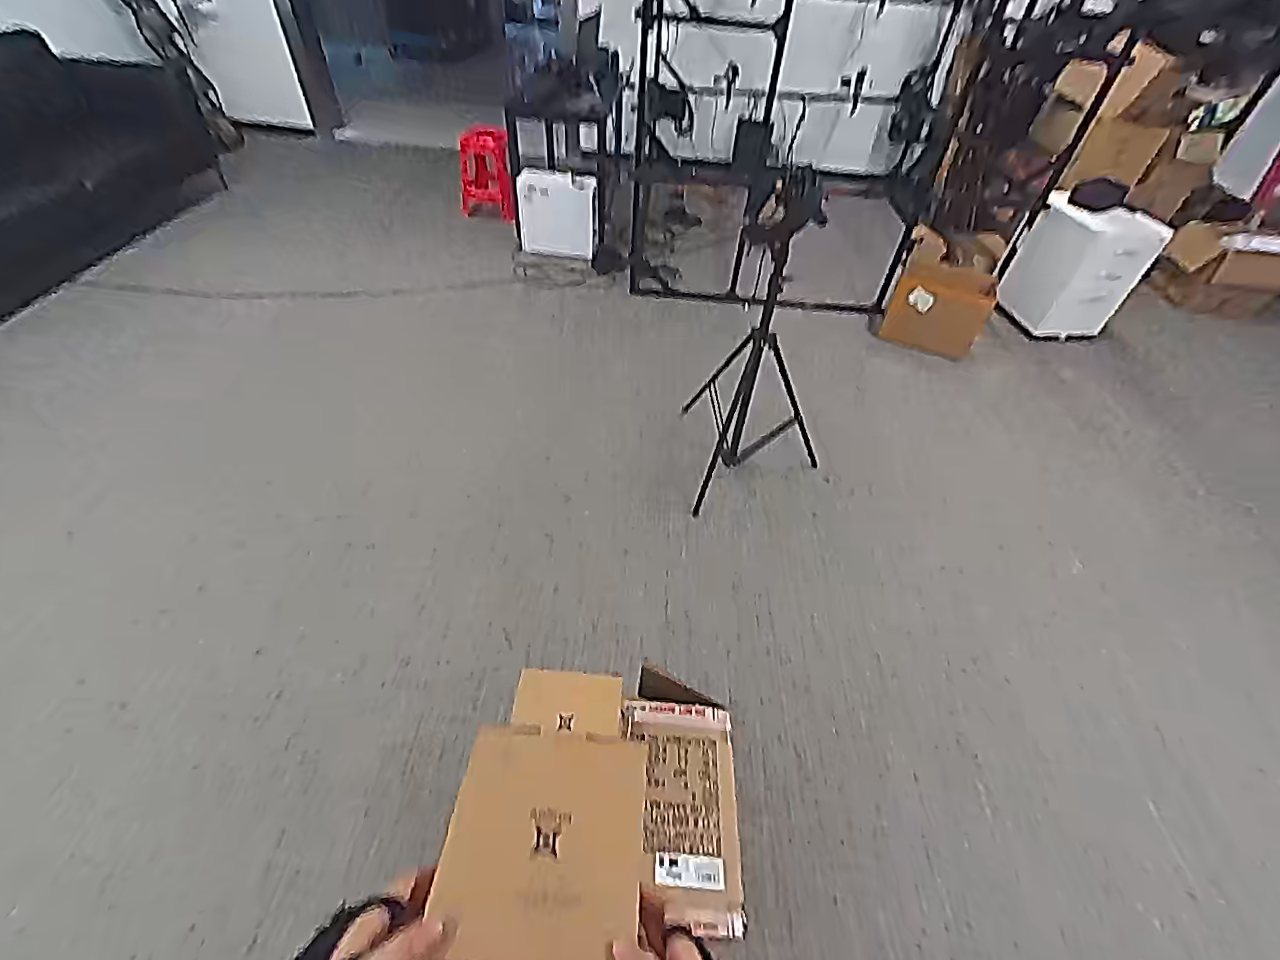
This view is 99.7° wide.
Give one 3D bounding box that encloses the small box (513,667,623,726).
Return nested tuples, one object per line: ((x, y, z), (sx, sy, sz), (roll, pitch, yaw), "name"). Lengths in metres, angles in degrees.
((-0.118, 0.426, 0.874), (0.168, 0.176, 0.179), (4, 48, 1), "small box")

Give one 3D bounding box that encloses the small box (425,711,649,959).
((-0.088, 0.353, 0.520), (0.168, 0.176, 0.179), (7, 41, -2), "small box")
